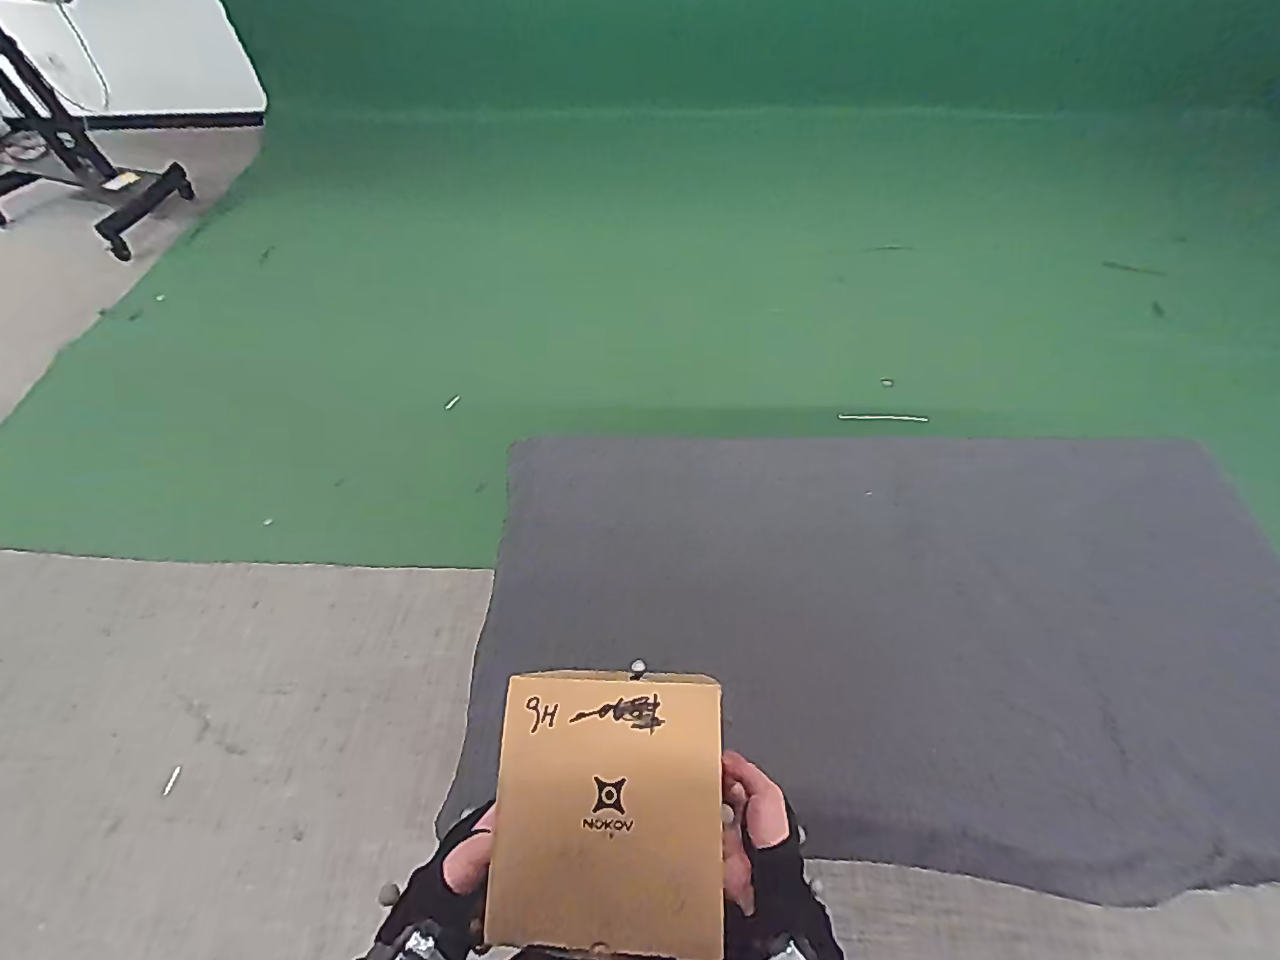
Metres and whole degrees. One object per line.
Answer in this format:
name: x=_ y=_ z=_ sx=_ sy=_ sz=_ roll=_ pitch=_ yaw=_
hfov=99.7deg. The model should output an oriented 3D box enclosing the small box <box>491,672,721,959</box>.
small box: x=-0.017 y=0.270 z=0.475 sx=0.168 sy=0.176 sz=0.179 roll=1 pitch=73 yaw=4
